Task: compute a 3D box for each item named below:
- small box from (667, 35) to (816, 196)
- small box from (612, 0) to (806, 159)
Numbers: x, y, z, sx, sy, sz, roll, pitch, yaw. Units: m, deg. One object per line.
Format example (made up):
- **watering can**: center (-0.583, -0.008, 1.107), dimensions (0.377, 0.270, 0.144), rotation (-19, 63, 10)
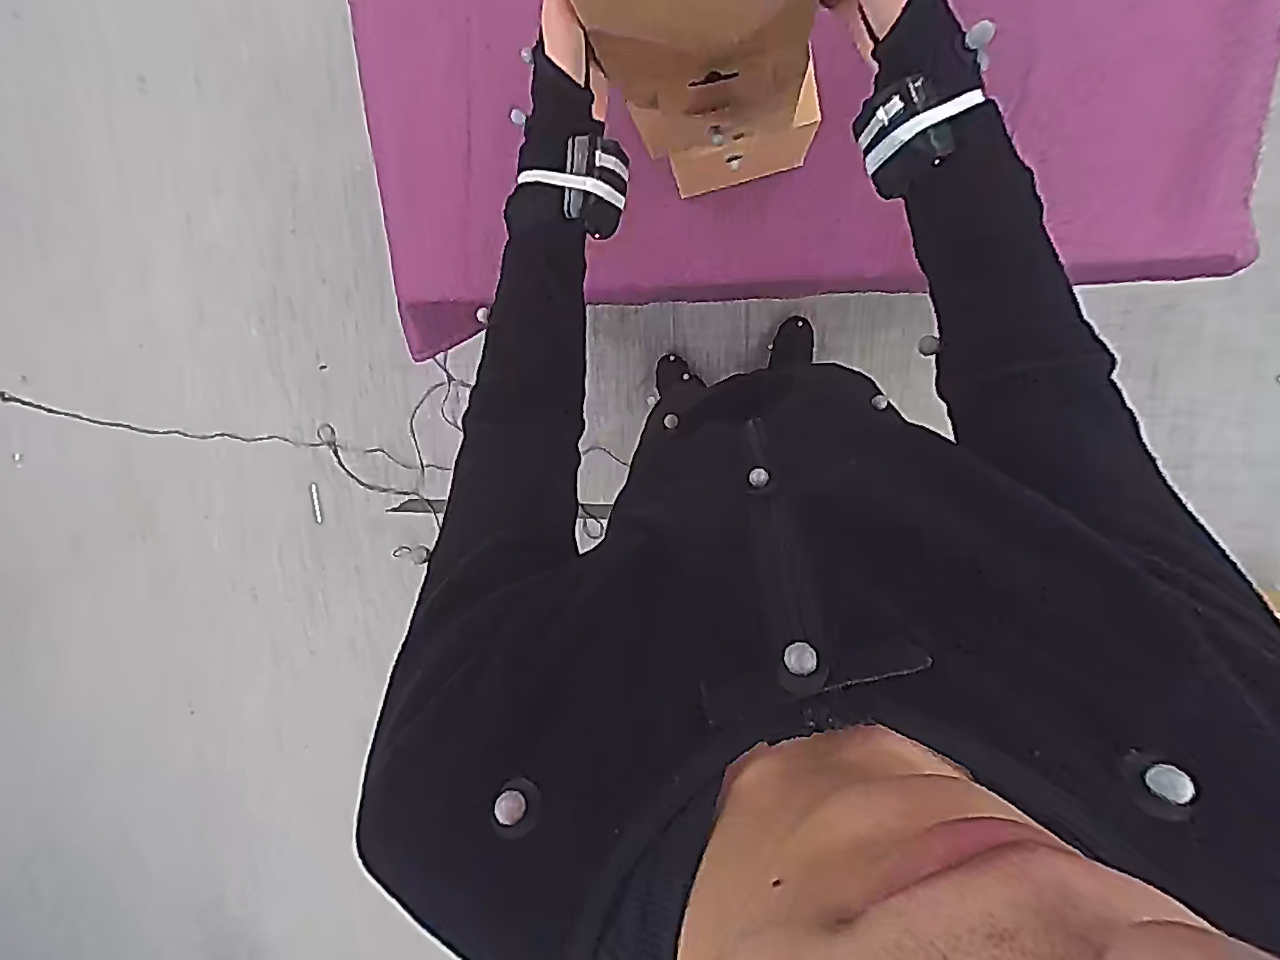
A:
- **small box**: center (0.114, -0.486, 0.689), dimensions (0.179, 0.176, 0.168), rotation (-10, 103, 11)
- **small box**: center (0.066, -0.451, 0.533), dimensions (0.168, 0.176, 0.179), rotation (-5, 103, 11)
